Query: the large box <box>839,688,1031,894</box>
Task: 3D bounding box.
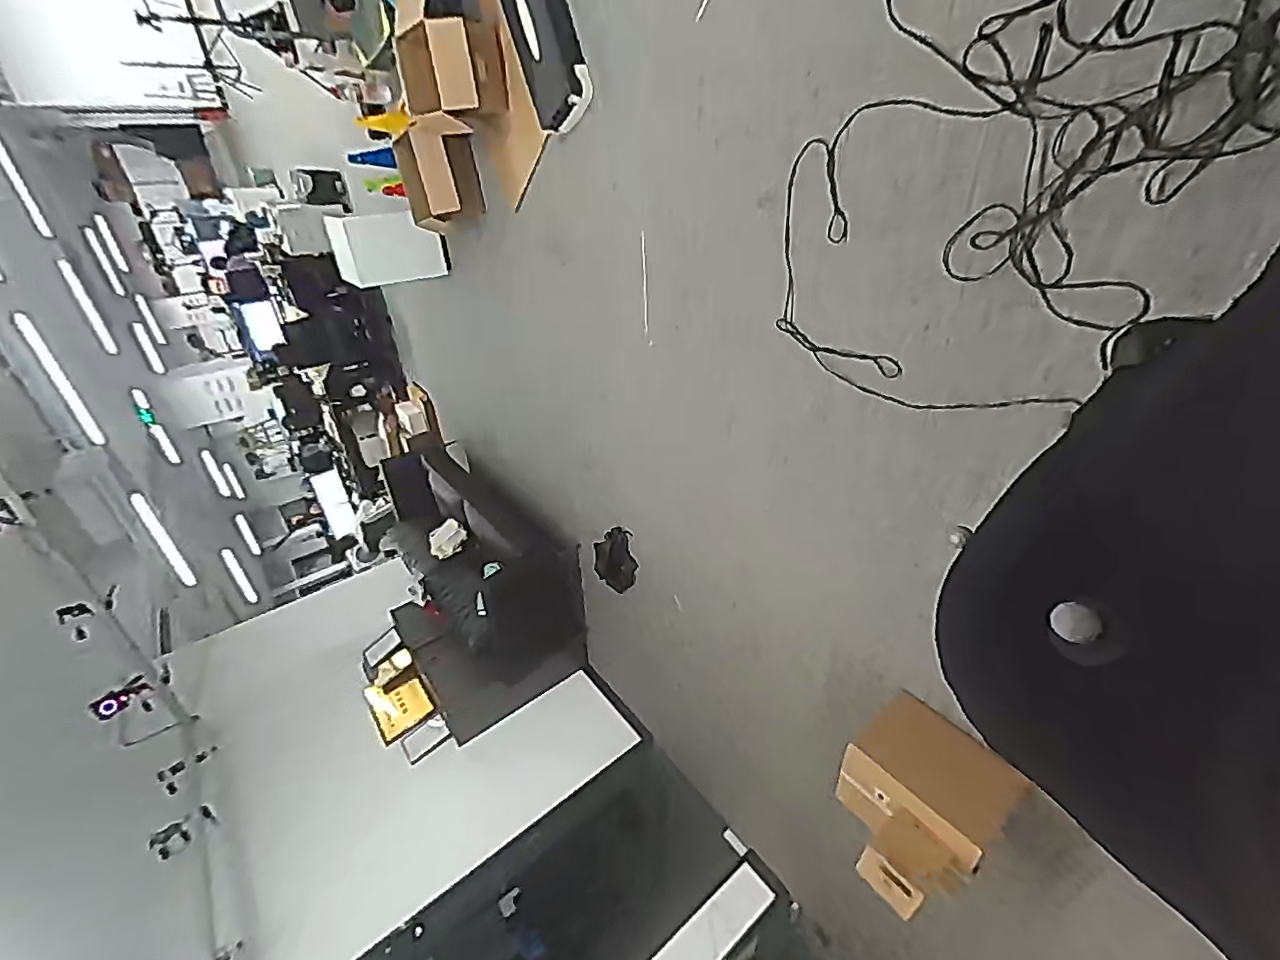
[{"bbox_3d":[0.911,0.957,1.706,0.408,0.320,0.320,34,136,44],"label":"large box"}]
